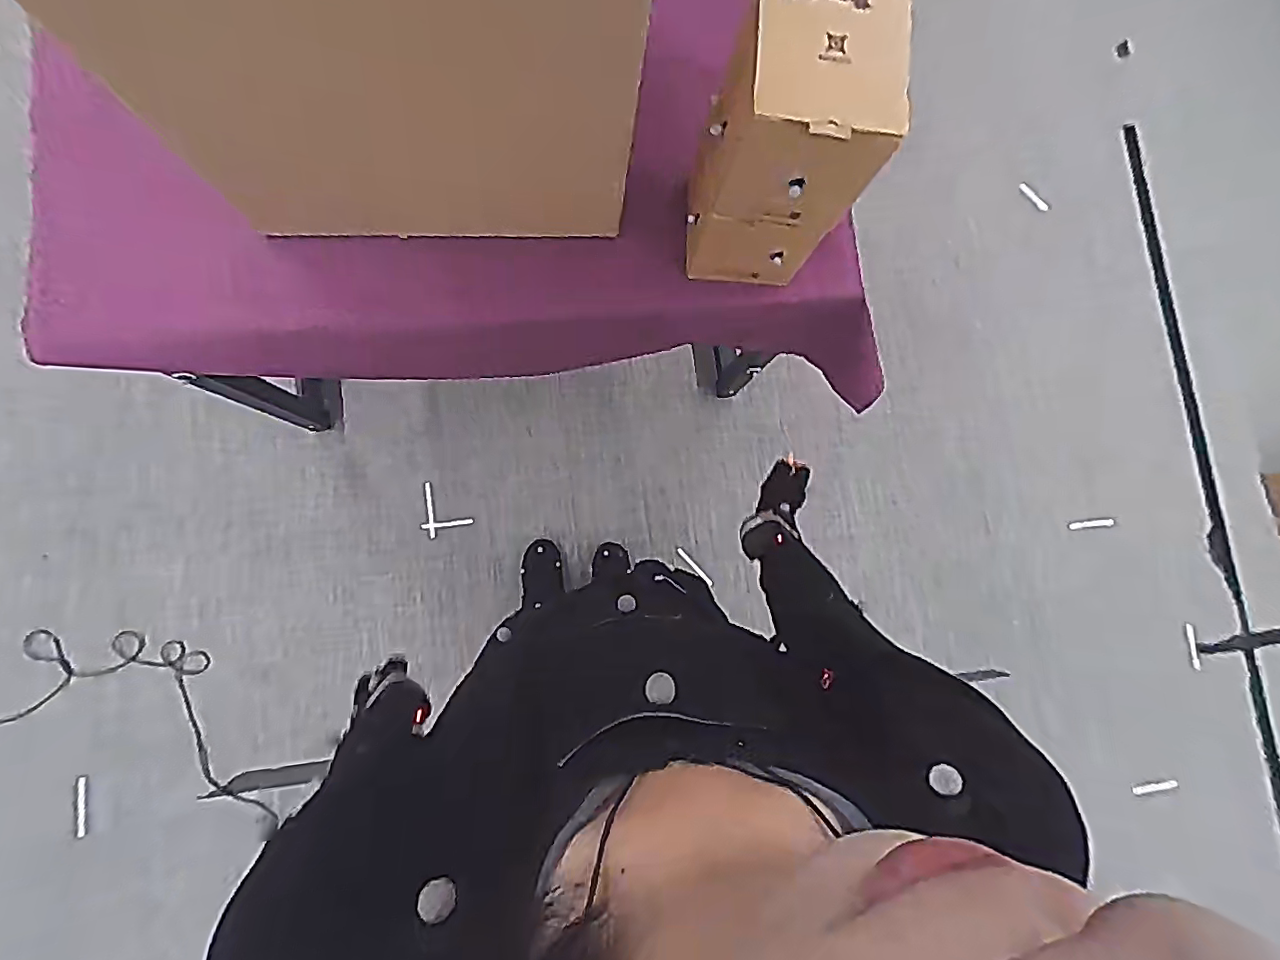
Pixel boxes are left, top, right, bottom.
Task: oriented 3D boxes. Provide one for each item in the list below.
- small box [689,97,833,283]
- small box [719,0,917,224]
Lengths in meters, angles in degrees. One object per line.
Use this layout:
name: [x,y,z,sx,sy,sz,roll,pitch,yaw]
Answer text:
small box: [0.170,-0.412,0.797,0.168,0.176,0.179,2,82,-6]
small box: [0.195,-0.432,0.635,0.168,0.176,0.179,6,83,-6]
